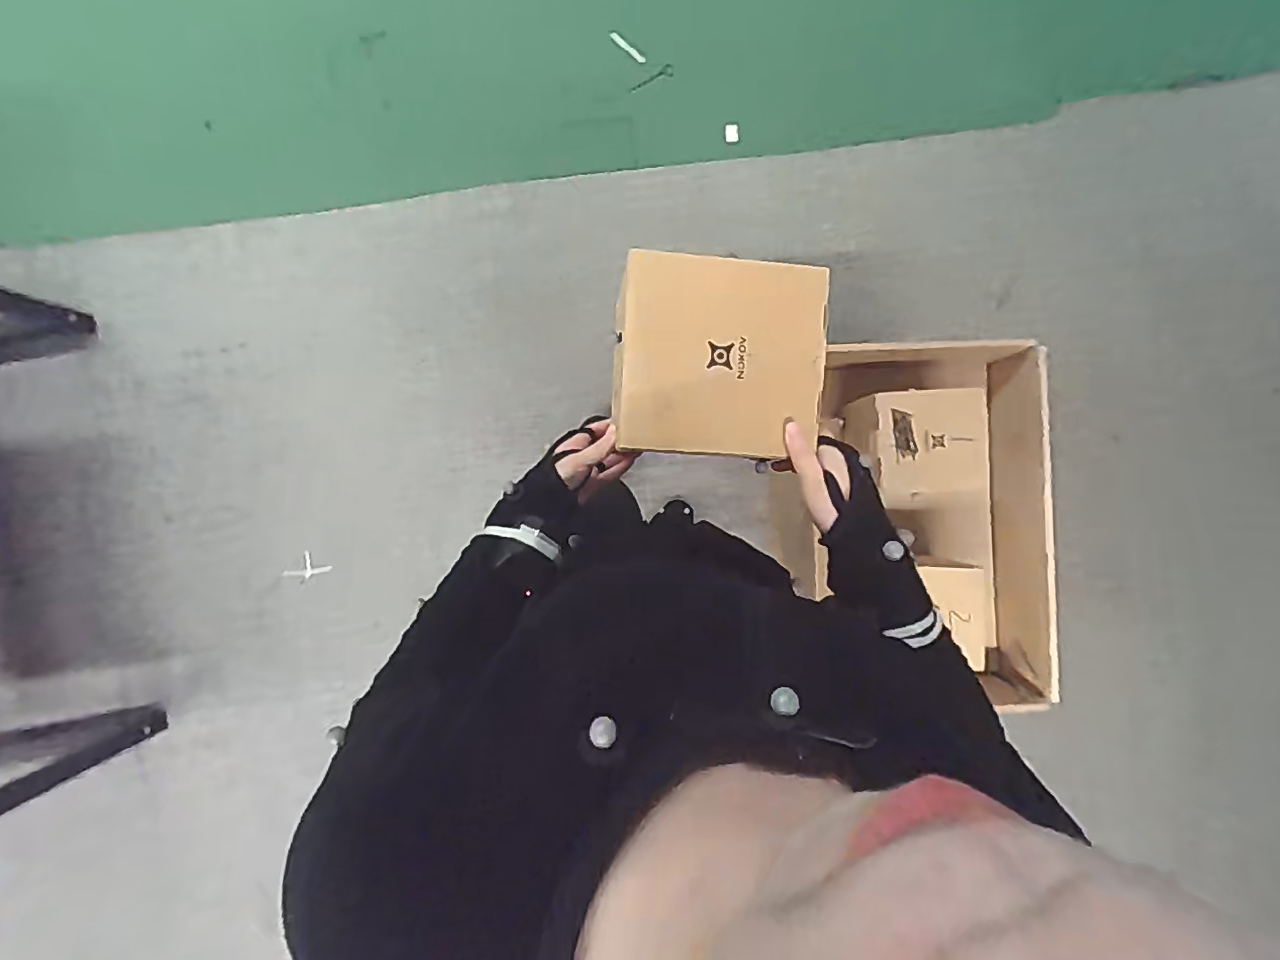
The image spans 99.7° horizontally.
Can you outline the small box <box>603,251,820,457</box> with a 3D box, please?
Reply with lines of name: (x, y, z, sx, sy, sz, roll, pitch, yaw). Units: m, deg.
small box: (0.056, -0.109, 0.537, 0.179, 0.176, 0.168, 2, 93, -8)
